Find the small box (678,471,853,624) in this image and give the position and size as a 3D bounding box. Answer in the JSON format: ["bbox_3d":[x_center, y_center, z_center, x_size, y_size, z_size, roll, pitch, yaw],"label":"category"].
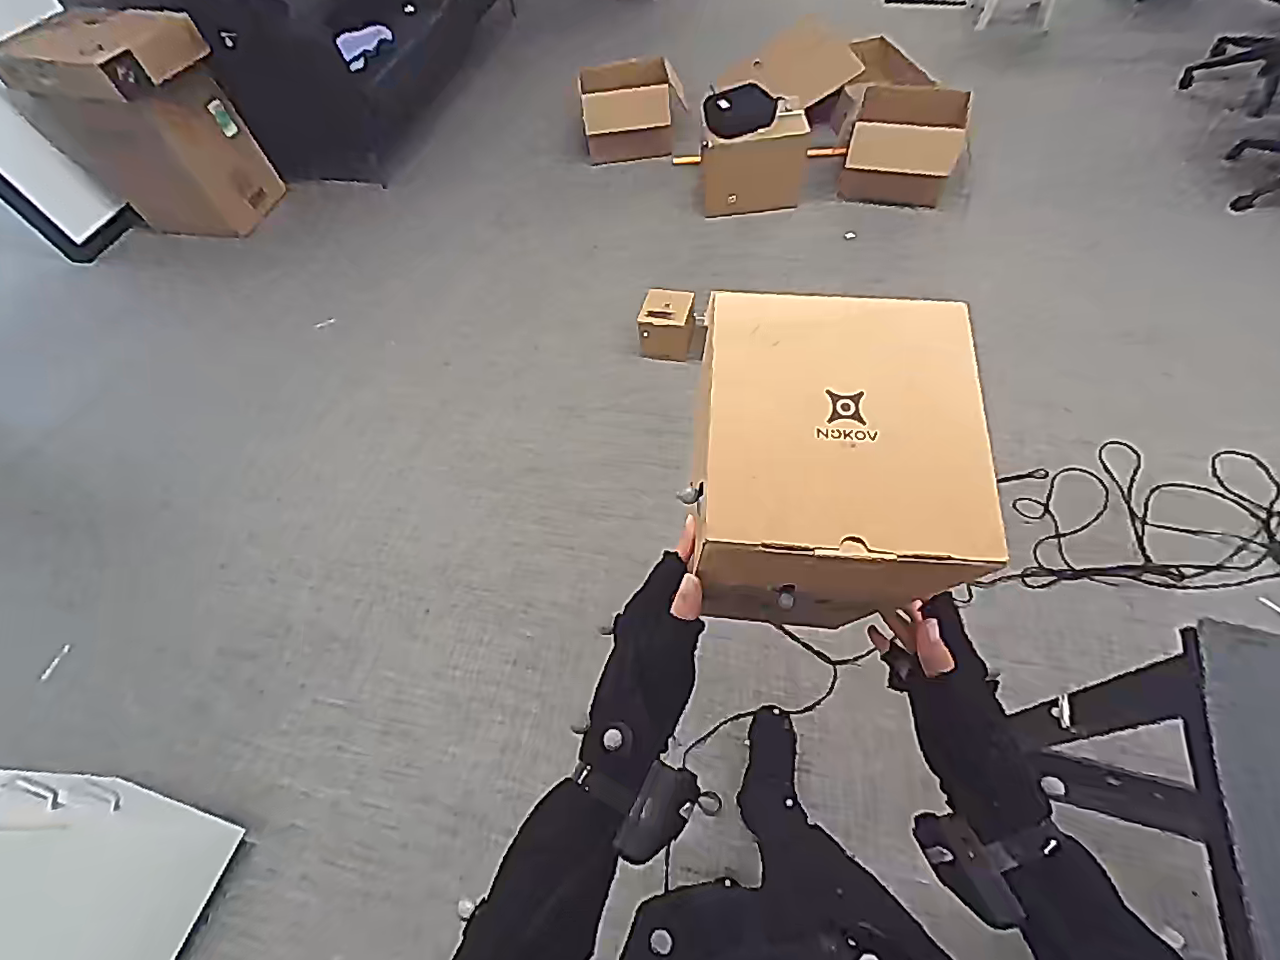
[{"bbox_3d":[0.132,0.049,0.556,0.179,0.176,0.168,5,68,3],"label":"small box"}]

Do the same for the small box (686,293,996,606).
[{"bbox_3d":[0.122,-0.012,0.405,0.168,0.176,0.179,3,69,3],"label":"small box"}]
